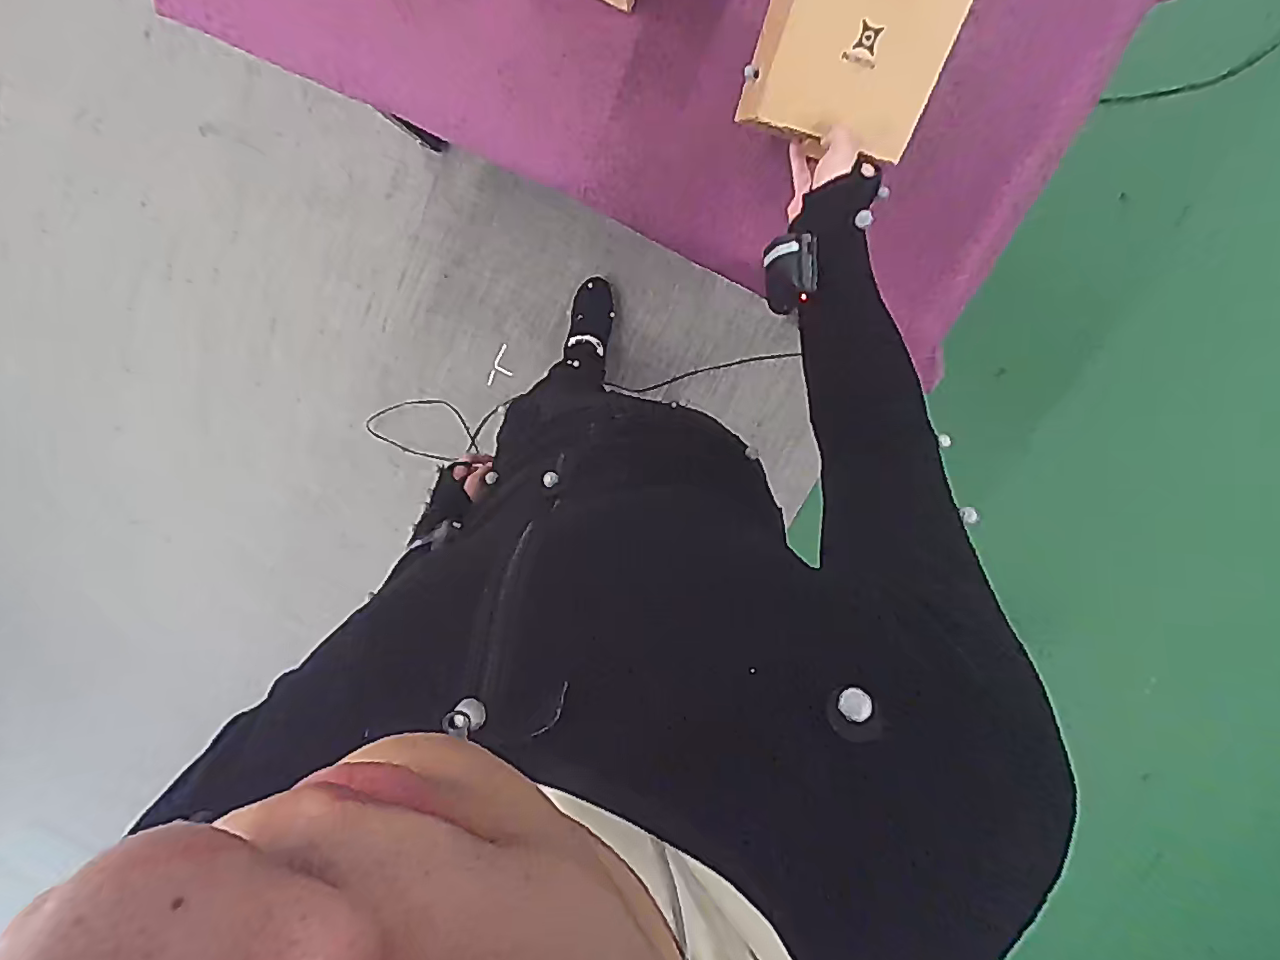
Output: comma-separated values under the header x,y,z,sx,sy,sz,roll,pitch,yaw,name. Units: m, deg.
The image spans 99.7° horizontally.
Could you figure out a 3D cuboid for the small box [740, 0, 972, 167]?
x,y,z,sx,sy,sz,roll,pitch,yaw,name
0.219,-0.468,0.591,0.168,0.176,0.179,14,122,-8,small box
